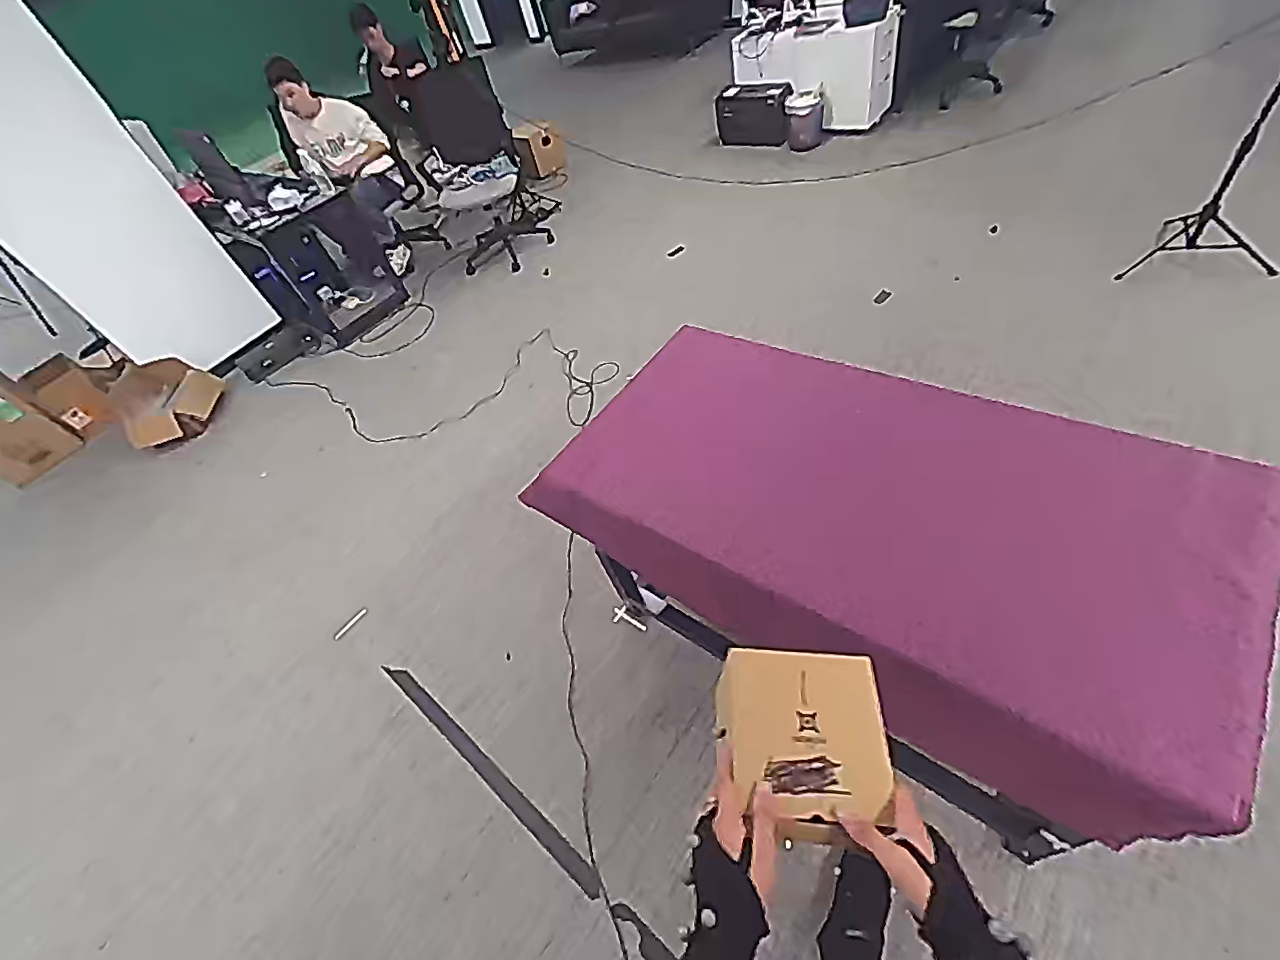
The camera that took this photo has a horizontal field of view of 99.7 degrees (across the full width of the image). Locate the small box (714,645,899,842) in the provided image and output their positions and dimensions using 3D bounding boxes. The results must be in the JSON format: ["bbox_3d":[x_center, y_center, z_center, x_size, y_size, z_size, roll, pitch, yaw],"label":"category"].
[{"bbox_3d":[0.180,0.316,0.644,0.168,0.176,0.179,3,51,2],"label":"small box"}]
